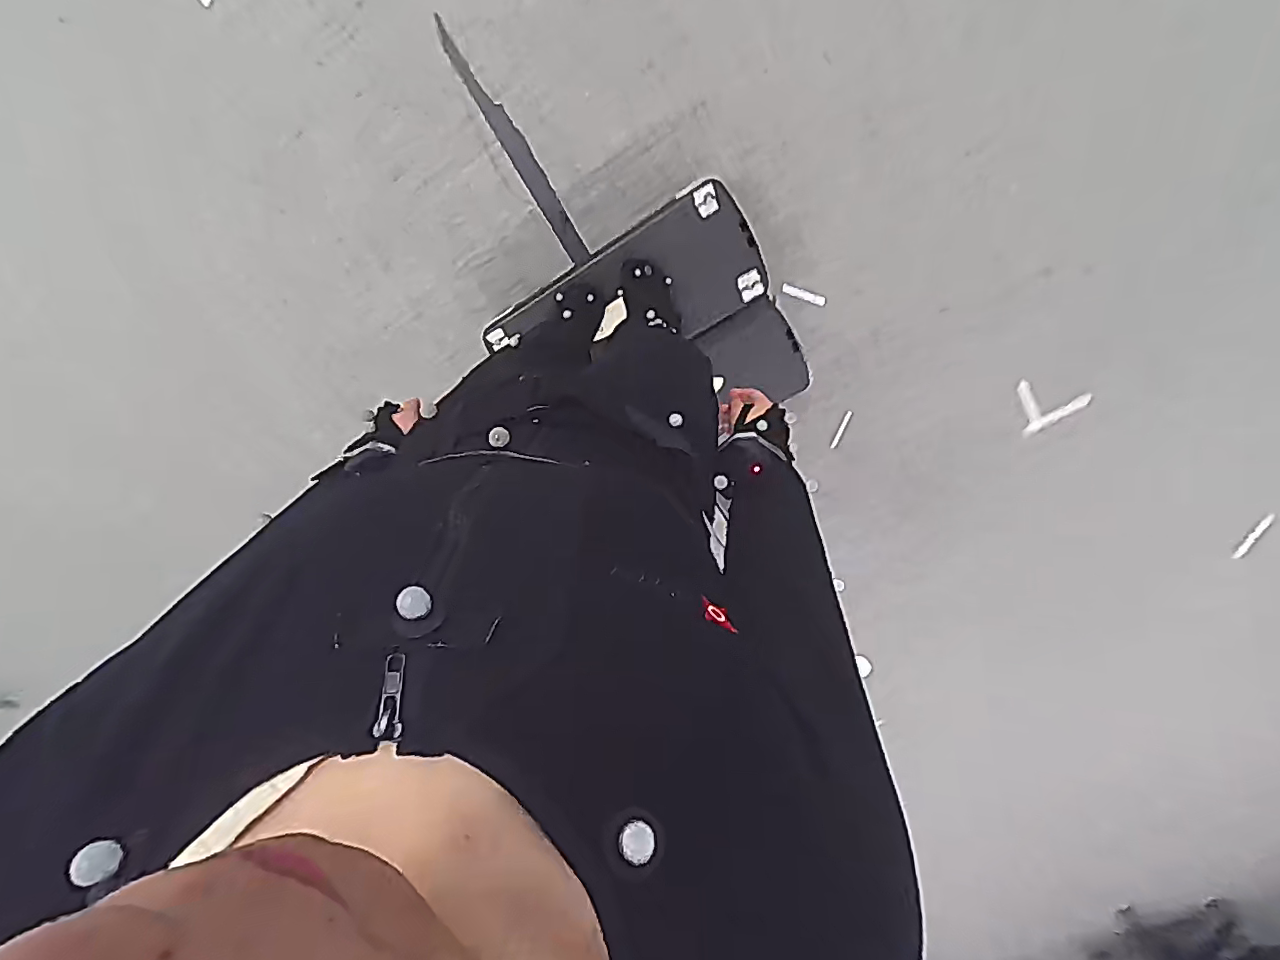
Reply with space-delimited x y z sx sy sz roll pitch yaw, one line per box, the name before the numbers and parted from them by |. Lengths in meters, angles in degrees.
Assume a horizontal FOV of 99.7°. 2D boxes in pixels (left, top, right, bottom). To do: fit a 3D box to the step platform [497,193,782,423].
step platform | -0.005 -0.408 1.335 0.684 0.204 0.286 -25 111 12
